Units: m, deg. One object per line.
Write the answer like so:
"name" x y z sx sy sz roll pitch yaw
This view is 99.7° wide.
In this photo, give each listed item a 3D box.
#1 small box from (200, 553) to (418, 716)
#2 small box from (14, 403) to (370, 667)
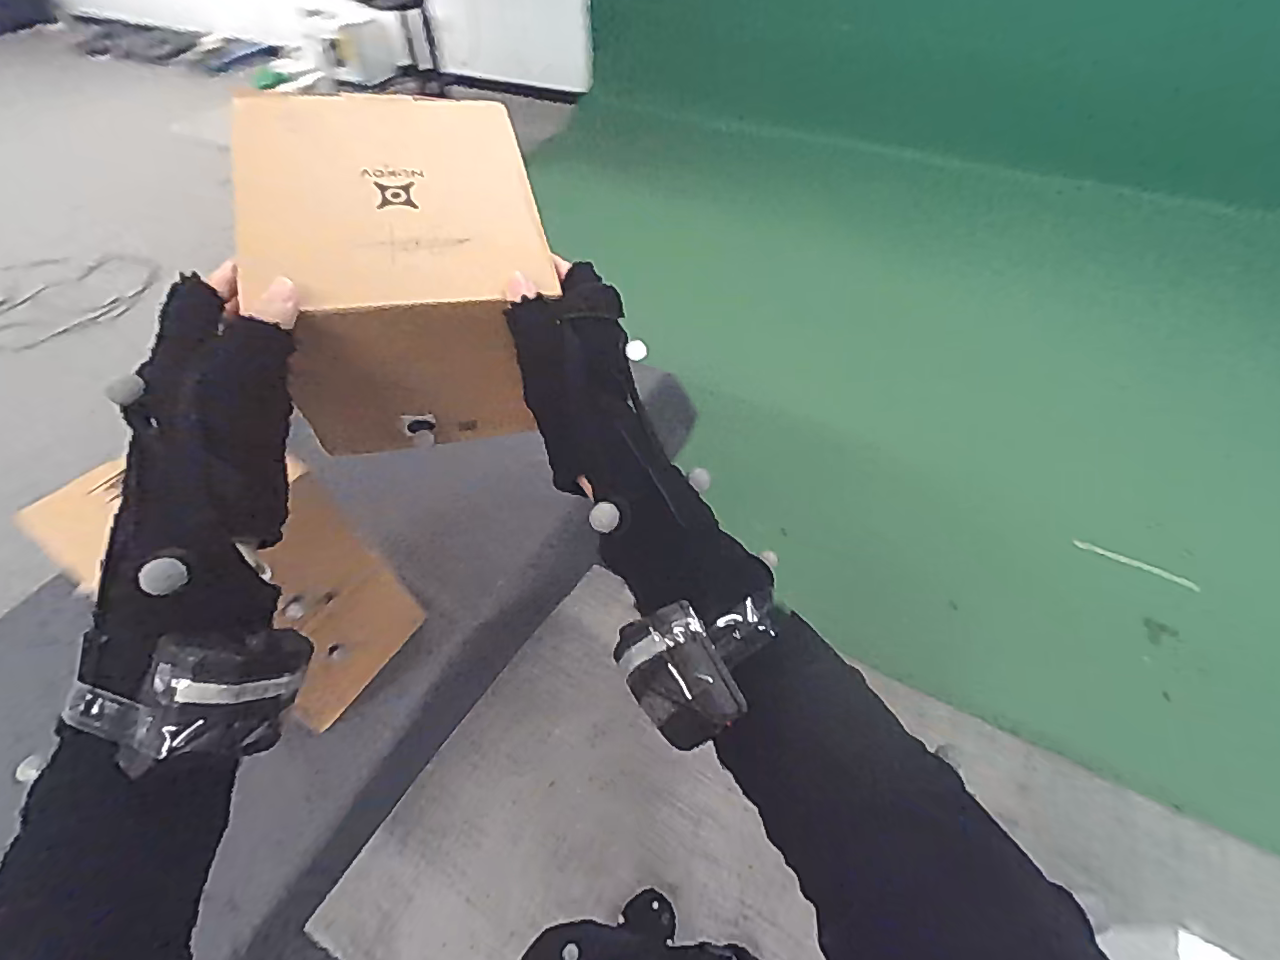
"small box" -0.411 0.158 0.664 0.168 0.176 0.179 24 58 20
"small box" -0.416 0.057 0.534 0.179 0.176 0.168 21 56 20
